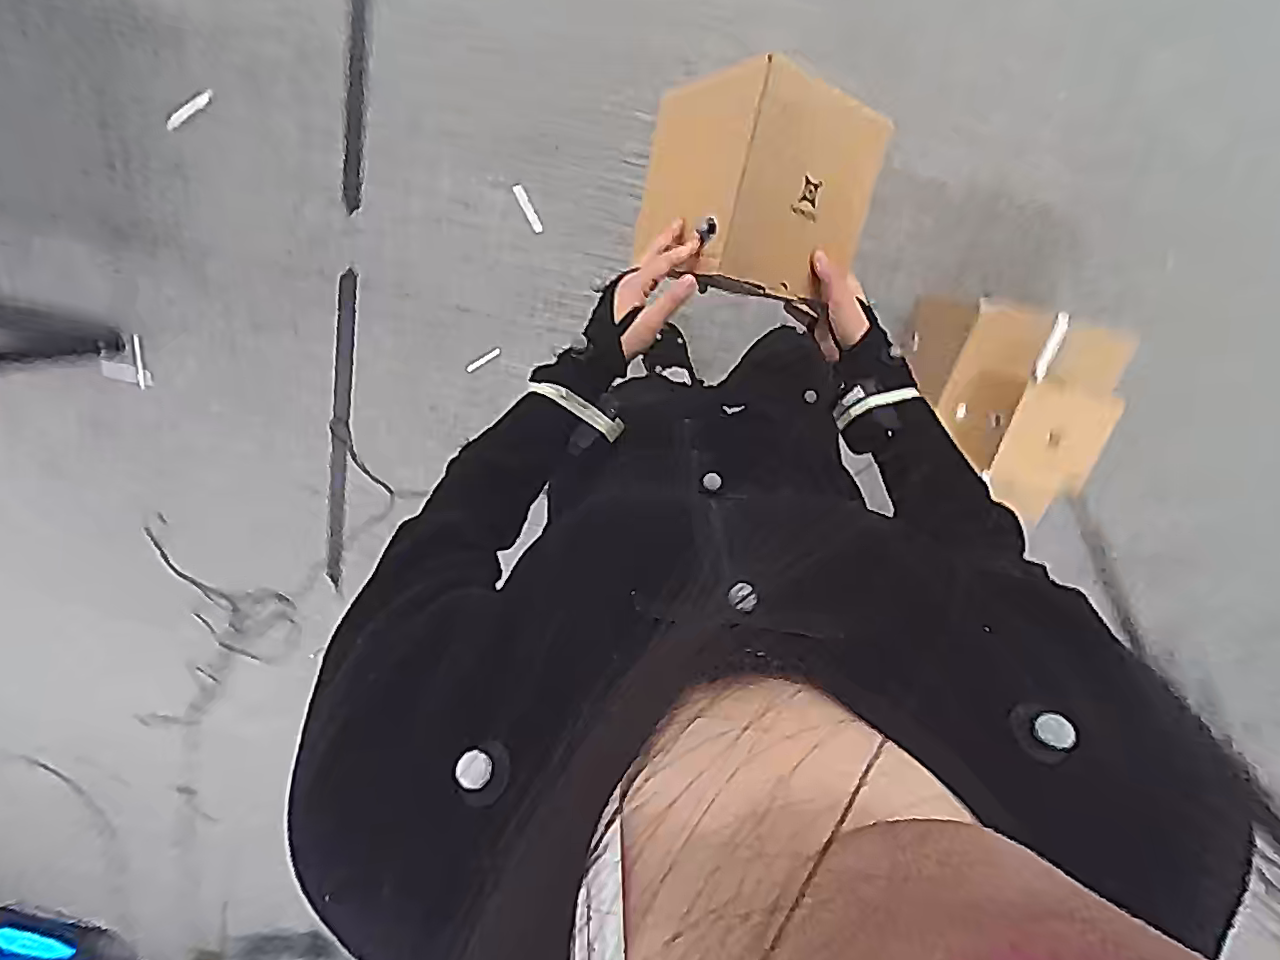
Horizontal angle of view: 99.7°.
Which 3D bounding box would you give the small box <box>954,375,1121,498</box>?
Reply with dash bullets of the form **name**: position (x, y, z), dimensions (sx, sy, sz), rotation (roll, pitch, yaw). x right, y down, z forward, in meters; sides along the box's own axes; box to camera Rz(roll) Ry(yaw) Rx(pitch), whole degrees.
- **small box**: position (0.735, -0.091, 1.027), dimensions (0.168, 0.176, 0.179), rotation (14, 111, 3)
